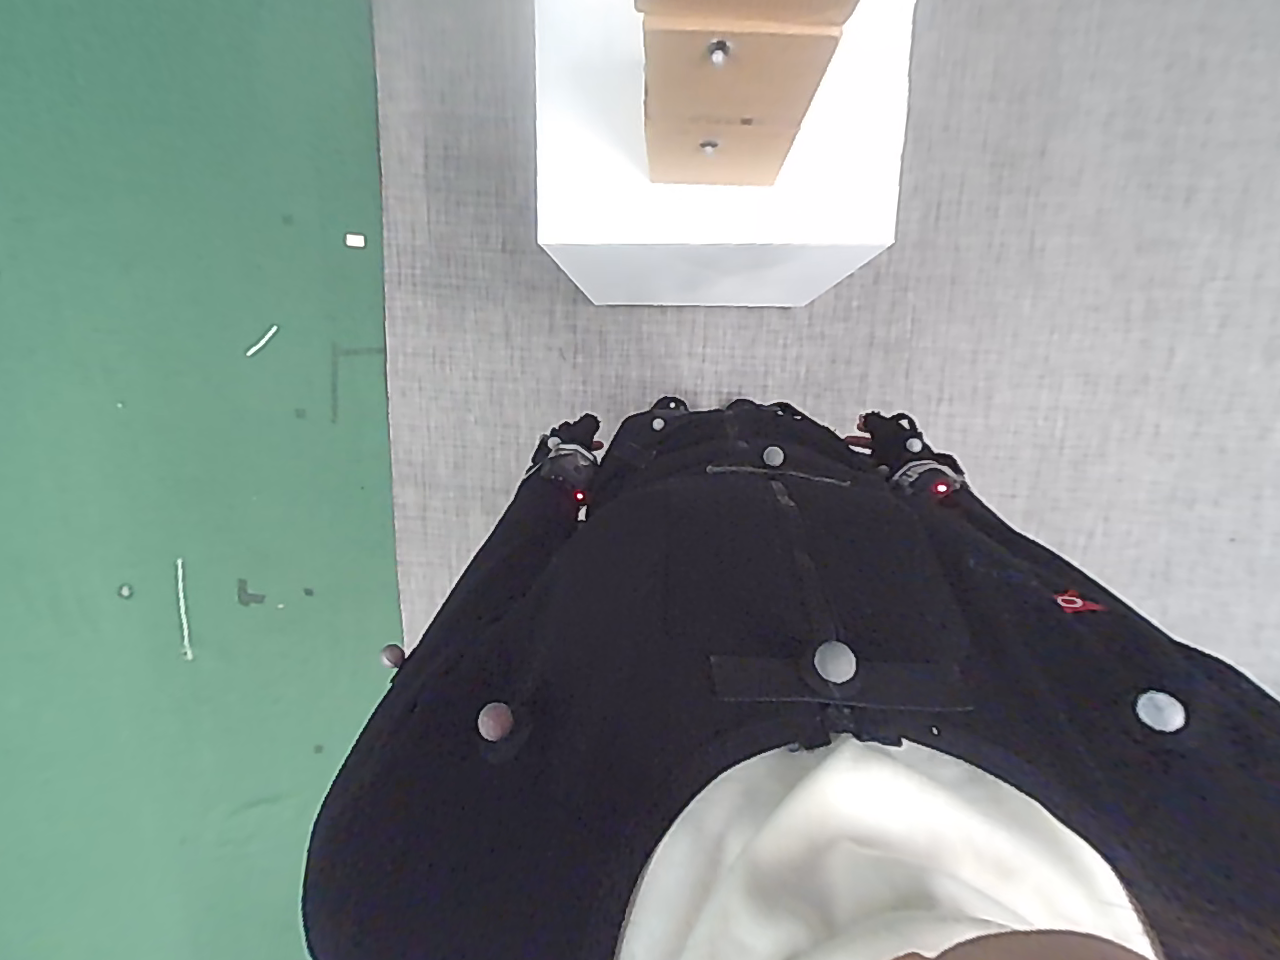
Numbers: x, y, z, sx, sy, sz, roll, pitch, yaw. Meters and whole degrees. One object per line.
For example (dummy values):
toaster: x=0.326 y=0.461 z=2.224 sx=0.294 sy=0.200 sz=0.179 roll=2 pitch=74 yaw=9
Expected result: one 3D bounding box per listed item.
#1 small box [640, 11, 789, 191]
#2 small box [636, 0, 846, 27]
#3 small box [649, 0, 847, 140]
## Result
small box: x=0.097 y=-0.482 z=0.678 sx=0.179 sy=0.176 sz=0.168 roll=4 pitch=98 yaw=3
small box: x=0.081 y=-0.442 z=0.355 sx=0.179 sy=0.176 sz=0.168 roll=5 pitch=100 yaw=2
small box: x=0.094 y=-0.462 z=0.518 sx=0.168 sy=0.176 sz=0.179 roll=2 pitch=99 yaw=2
